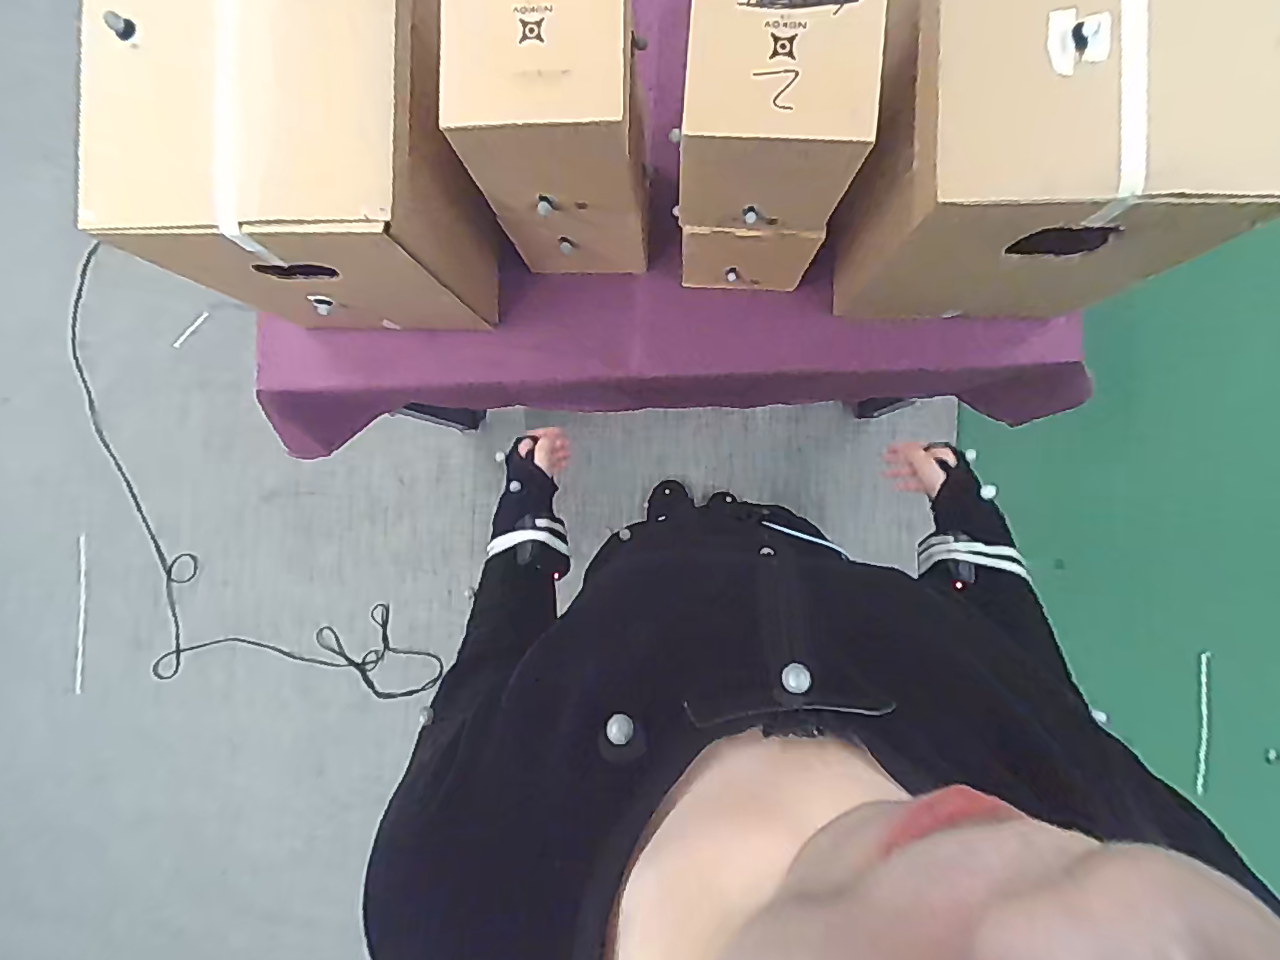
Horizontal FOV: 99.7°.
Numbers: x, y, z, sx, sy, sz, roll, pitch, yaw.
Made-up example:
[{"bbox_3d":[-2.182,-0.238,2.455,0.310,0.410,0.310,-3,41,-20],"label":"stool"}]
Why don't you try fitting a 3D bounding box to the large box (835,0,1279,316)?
[{"bbox_3d":[0.429,-0.437,0.630,0.320,0.320,0.408,2,90,3],"label":"large box"}]
